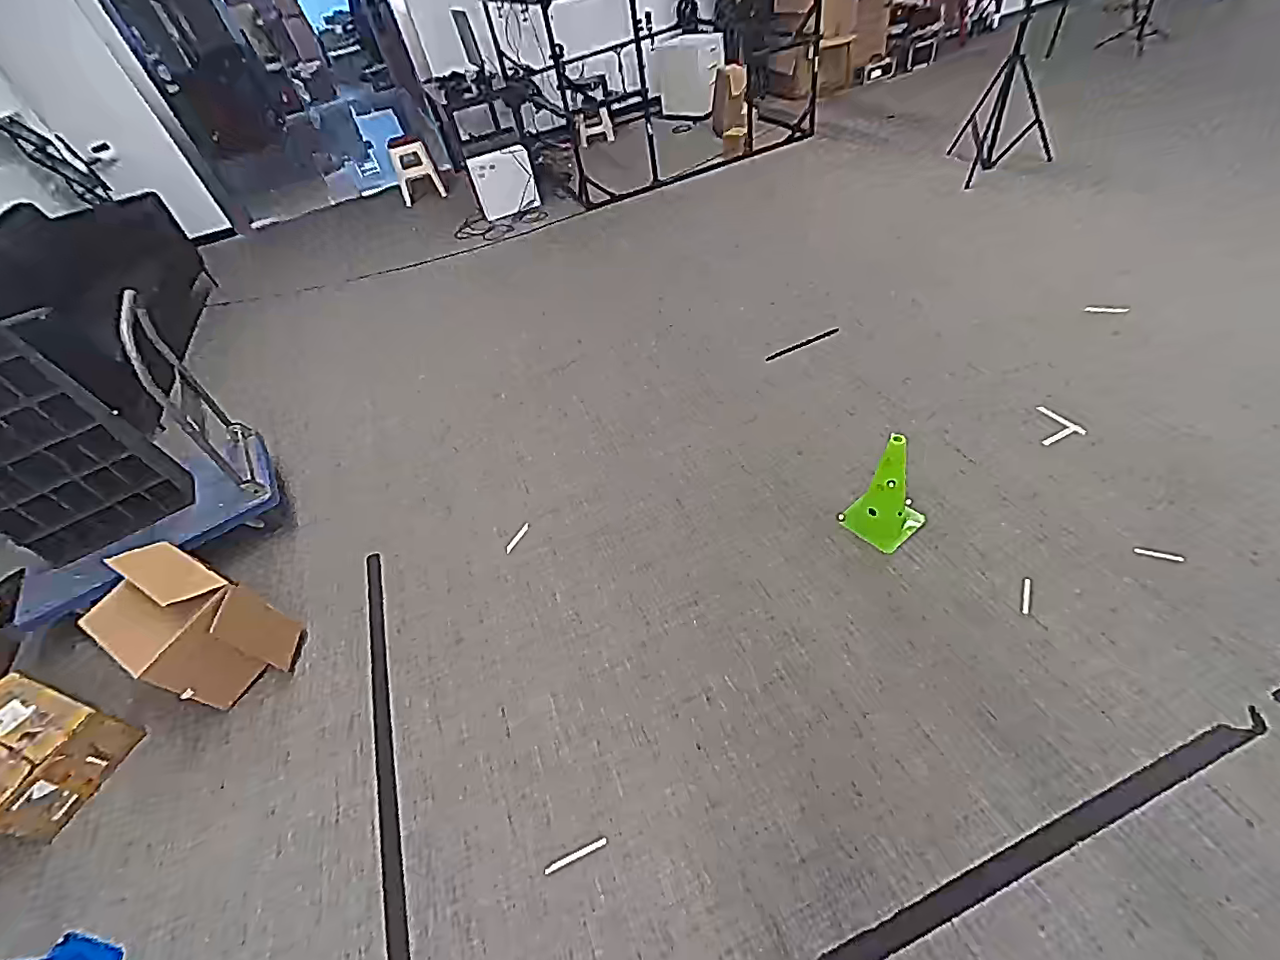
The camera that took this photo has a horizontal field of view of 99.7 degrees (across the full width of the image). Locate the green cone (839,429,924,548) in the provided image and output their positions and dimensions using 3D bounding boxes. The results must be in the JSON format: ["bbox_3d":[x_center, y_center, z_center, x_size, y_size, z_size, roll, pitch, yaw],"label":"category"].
[{"bbox_3d":[0.748,-0.002,1.616,0.202,0.368,0.200,-34,49,-20],"label":"green cone"}]
